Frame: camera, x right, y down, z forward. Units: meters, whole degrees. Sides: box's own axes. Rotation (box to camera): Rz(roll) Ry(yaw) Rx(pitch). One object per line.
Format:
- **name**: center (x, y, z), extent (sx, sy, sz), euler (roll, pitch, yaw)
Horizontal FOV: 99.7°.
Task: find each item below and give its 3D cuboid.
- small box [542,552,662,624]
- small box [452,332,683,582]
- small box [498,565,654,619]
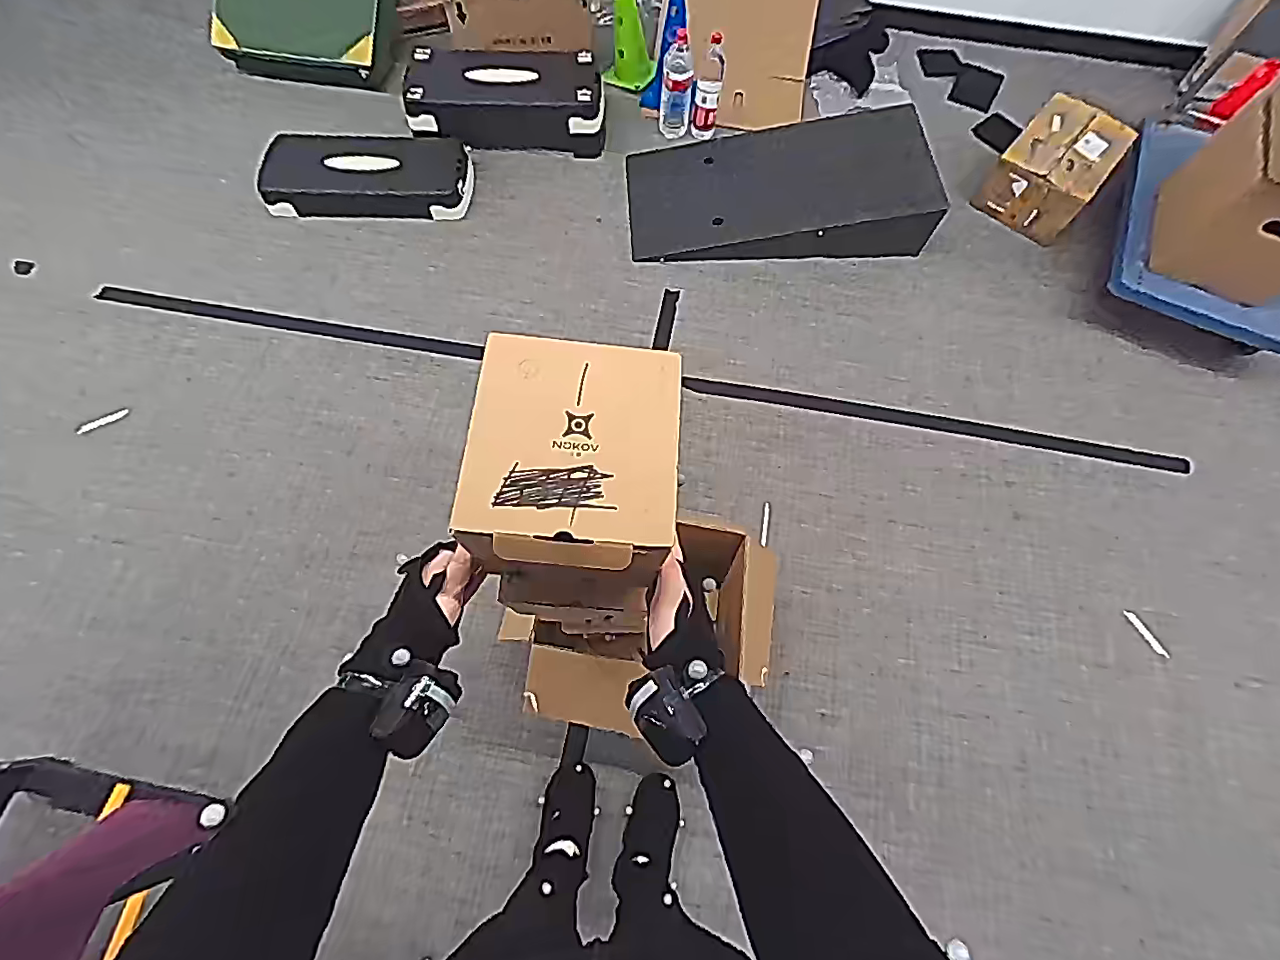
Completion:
- **small box**: center (-0.061, 0.128, 0.825), extent (0.179, 0.176, 0.168), euler (5, 73, -3)
- **small box**: center (-0.057, -0.008, 0.502), extent (0.168, 0.176, 0.179), euler (6, 69, -4)
- **small box**: center (-0.067, 0.075, 0.670), extent (0.168, 0.176, 0.179), euler (6, 72, -3)
